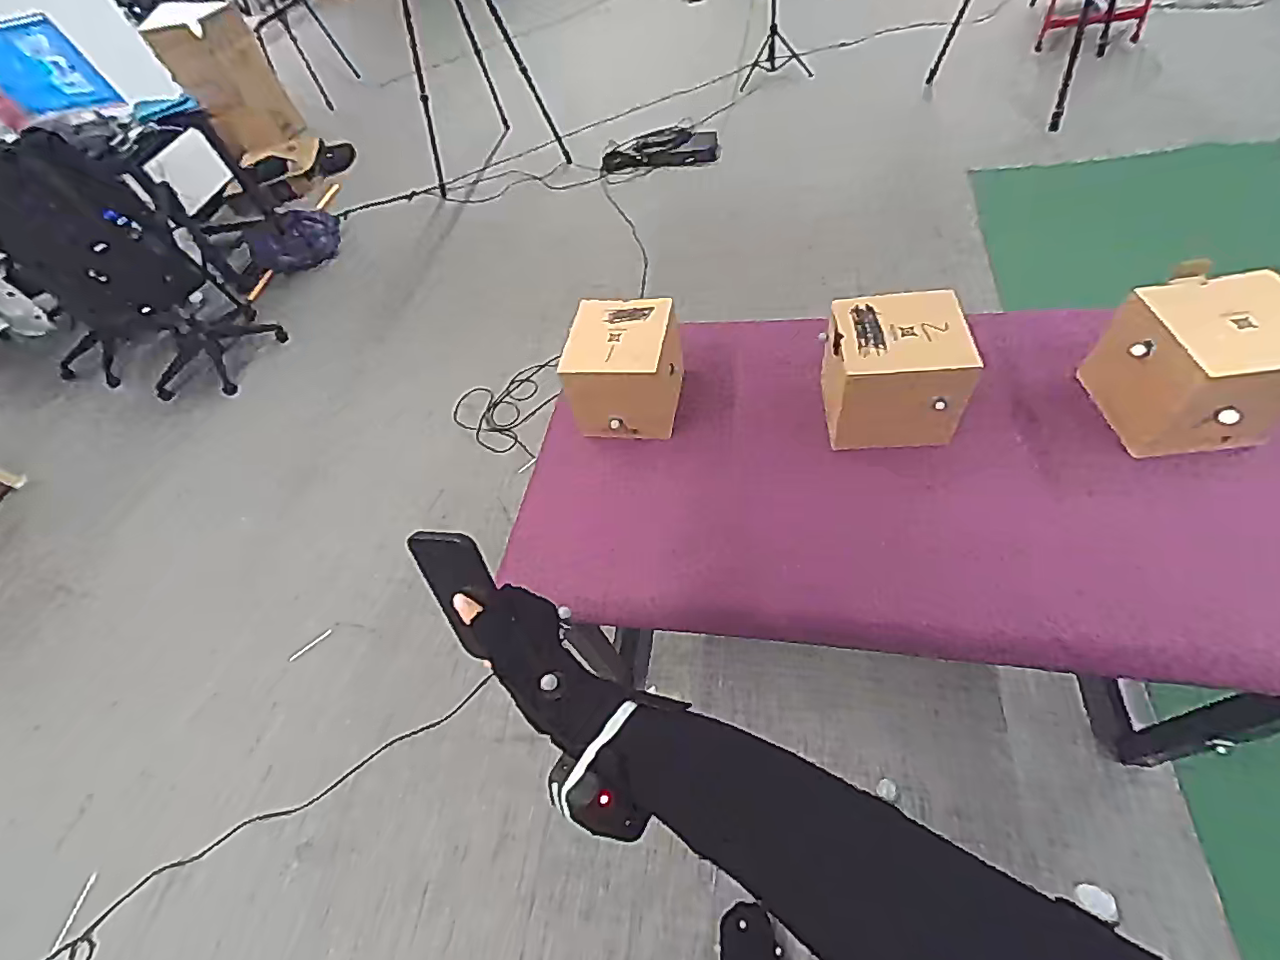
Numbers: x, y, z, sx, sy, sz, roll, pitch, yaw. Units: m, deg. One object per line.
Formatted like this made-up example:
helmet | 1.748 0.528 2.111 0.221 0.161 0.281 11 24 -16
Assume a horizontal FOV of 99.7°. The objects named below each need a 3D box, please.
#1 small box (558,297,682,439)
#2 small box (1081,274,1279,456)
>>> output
small box | -0.023 -0.194 0.940 0.168 0.176 0.179 4 58 15
small box | 0.765 -0.147 0.741 0.168 0.176 0.179 -6 54 9
